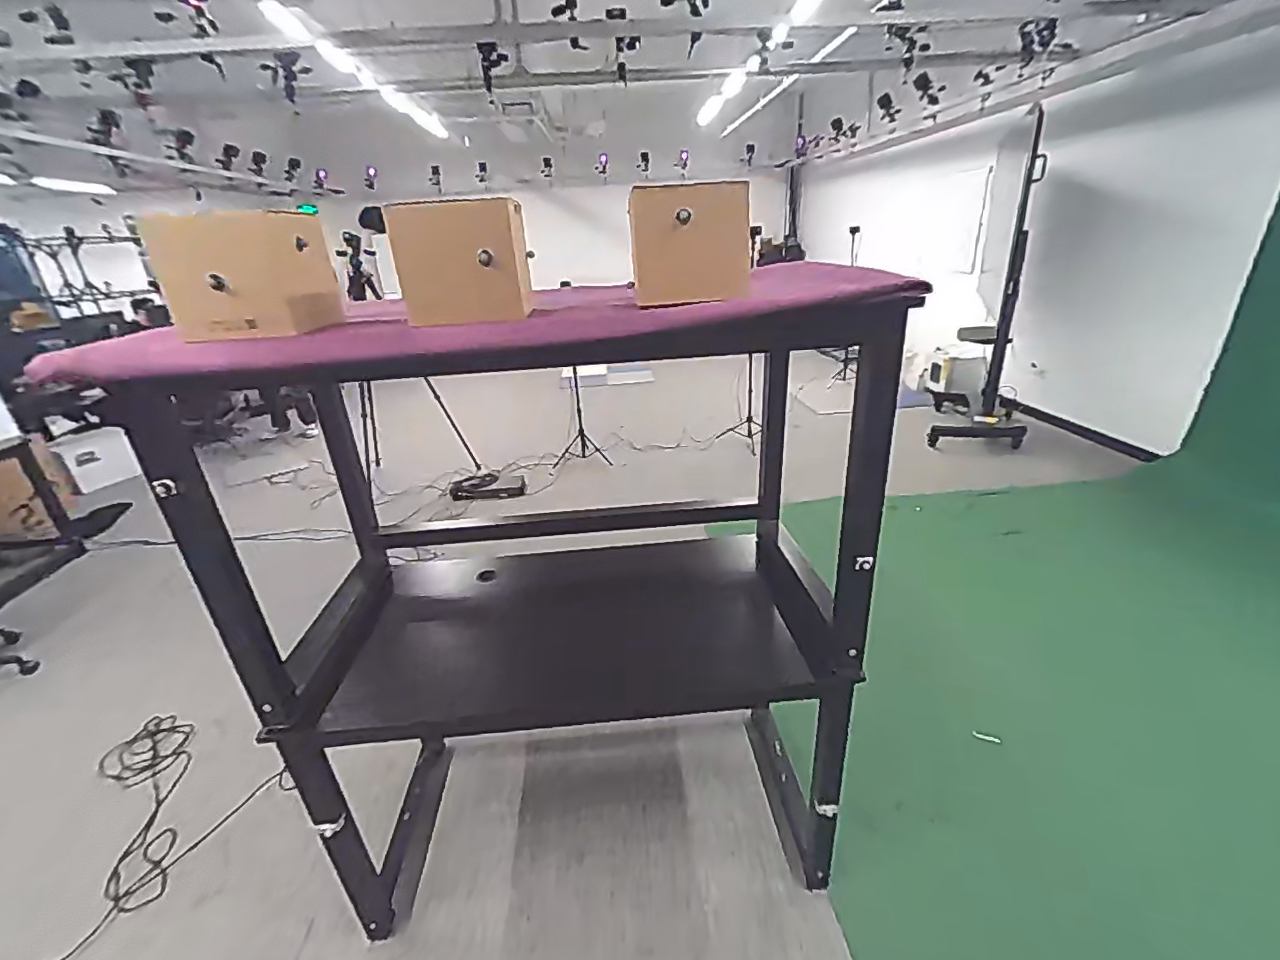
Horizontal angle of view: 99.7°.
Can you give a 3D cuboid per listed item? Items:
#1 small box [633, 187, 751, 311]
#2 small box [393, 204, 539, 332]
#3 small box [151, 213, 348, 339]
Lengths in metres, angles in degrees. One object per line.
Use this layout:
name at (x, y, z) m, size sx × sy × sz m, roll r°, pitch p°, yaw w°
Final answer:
small box at (0.083, -0.375, 0.899) m, size 0.179 × 0.176 × 0.168 m, roll -4°, pitch 21°, yaw -1°
small box at (-0.262, -0.337, 0.863) m, size 0.179 × 0.176 × 0.168 m, roll -5°, pitch 23°, yaw -3°
small box at (-0.582, -0.314, 0.839) m, size 0.168 × 0.176 × 0.179 m, roll -3°, pitch 24°, yaw -4°
